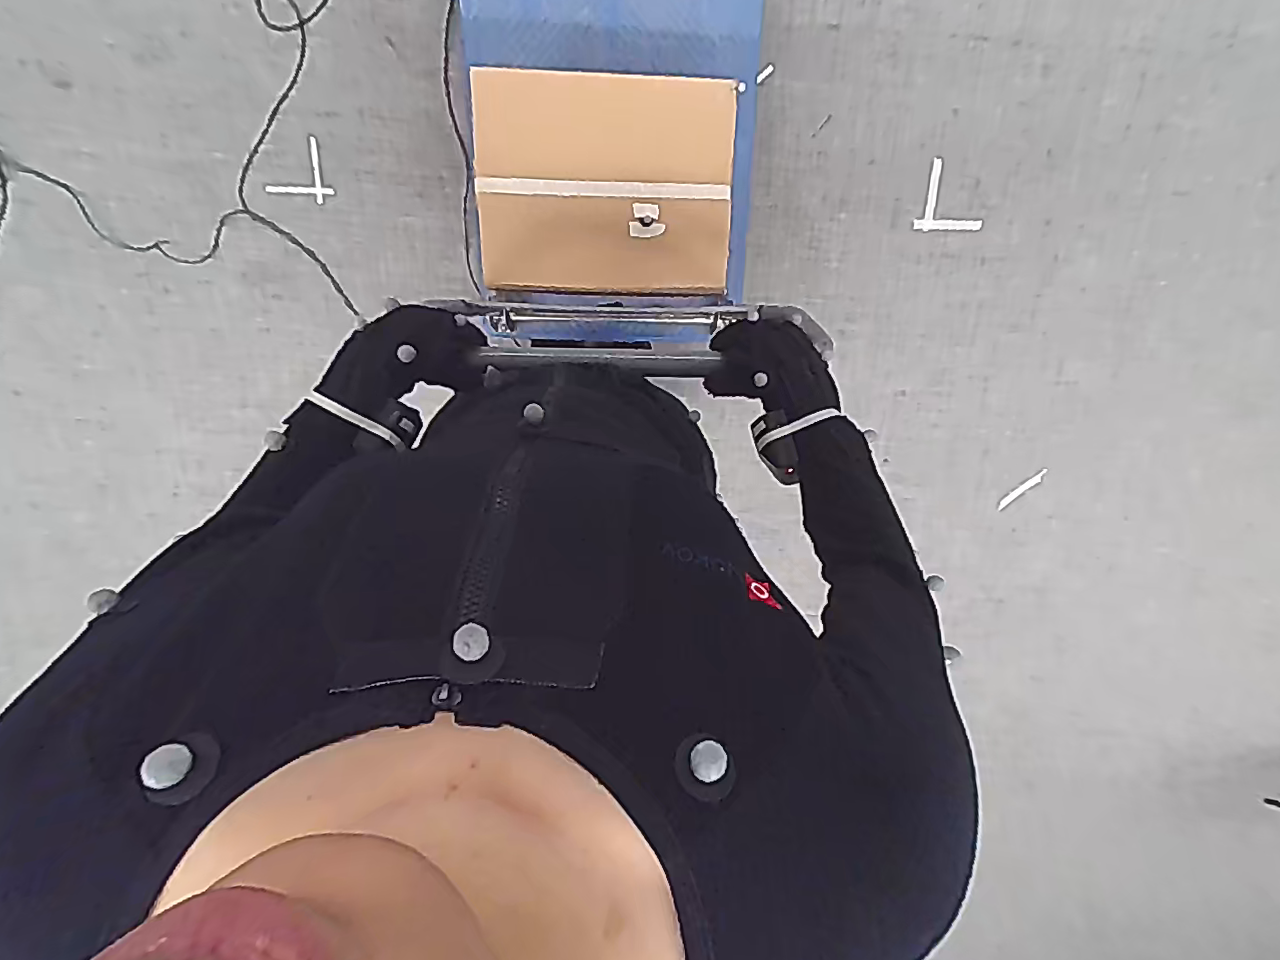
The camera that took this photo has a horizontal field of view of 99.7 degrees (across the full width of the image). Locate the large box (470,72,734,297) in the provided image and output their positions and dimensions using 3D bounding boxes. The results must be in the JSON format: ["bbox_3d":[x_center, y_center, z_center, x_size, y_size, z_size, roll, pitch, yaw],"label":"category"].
[{"bbox_3d":[-0.066,-0.504,0.997,0.408,0.320,0.320,0,109,-4],"label":"large box"}]
